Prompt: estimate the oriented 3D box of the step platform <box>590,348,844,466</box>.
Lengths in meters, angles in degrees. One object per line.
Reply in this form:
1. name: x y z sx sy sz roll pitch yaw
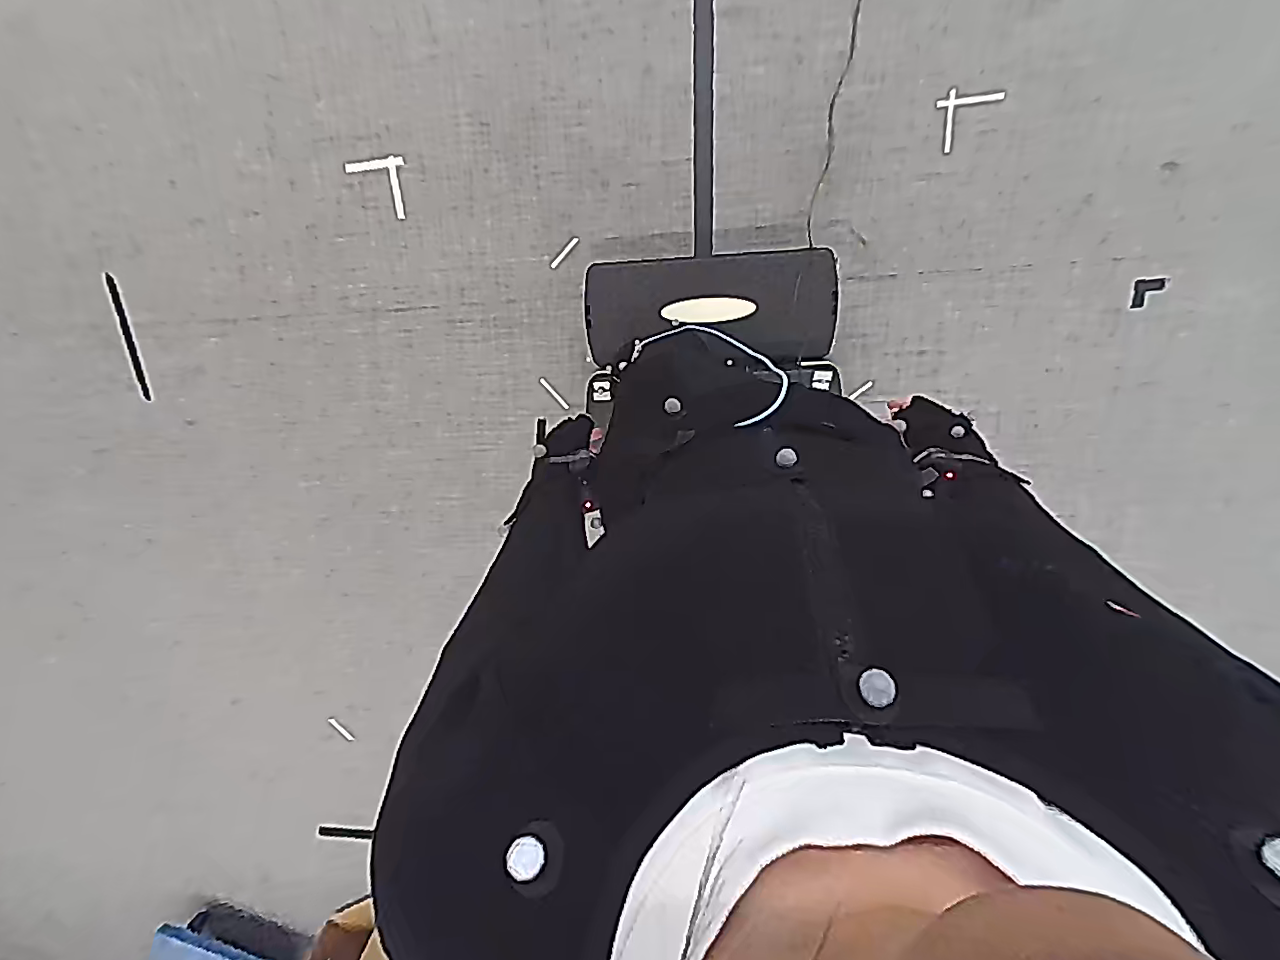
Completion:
1. step platform: 0.203 -0.198 1.498 0.684 0.204 0.286 -2 105 8
